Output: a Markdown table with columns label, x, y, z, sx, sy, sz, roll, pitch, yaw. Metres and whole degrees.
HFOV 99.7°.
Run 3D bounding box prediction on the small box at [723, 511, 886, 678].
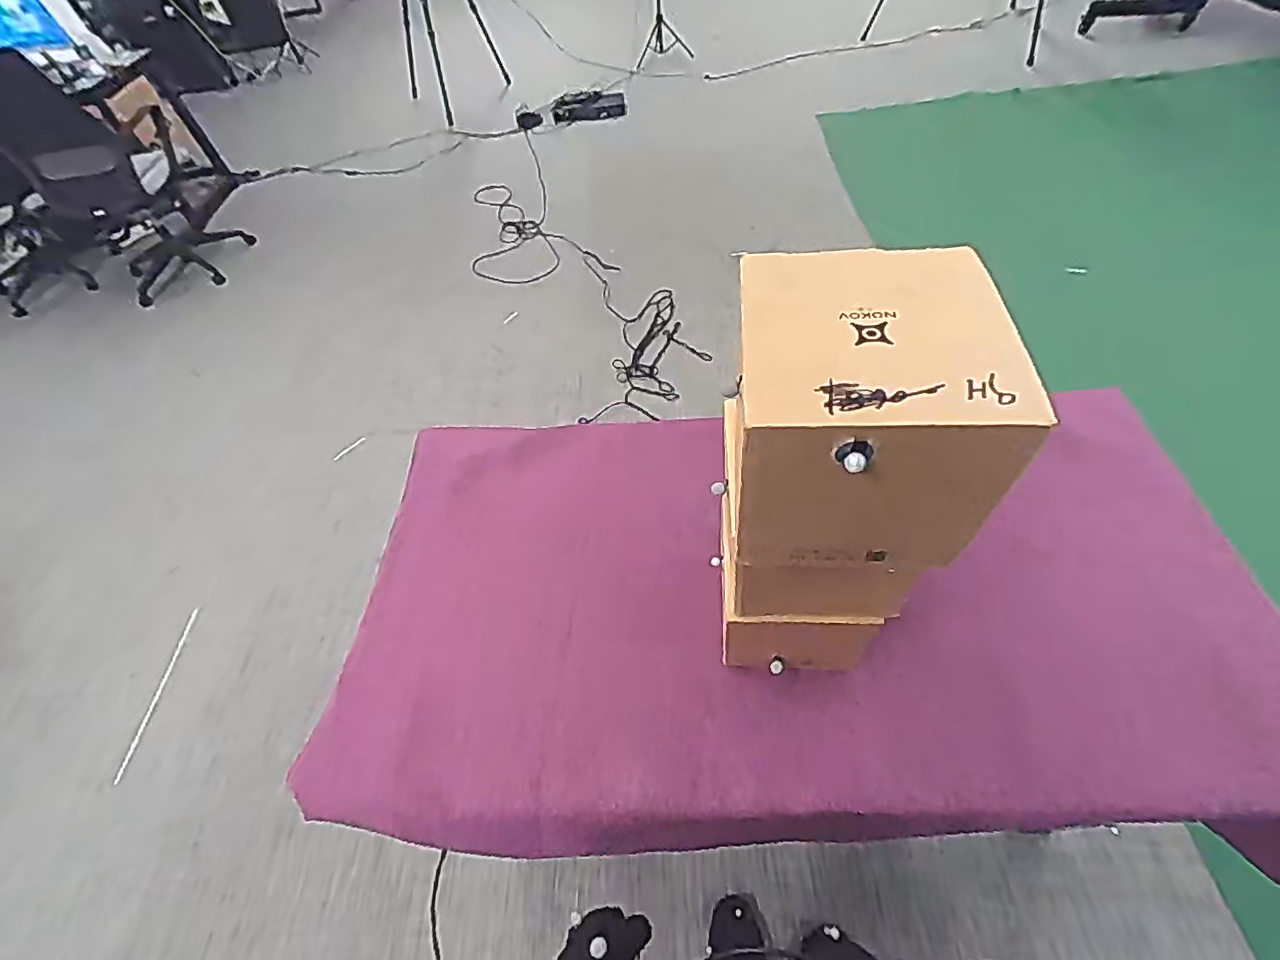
| label | x | y | z | sx | sy | sz | roll | pitch | yaw |
| --- | --- | --- | --- | --- | --- | --- | --- | --- | --- |
| small box | 0.189 | 0.133 | 0.680 | 0.168 | 0.176 | 0.179 | -1 | 54 | 8 |

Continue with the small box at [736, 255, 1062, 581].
| label | x | y | z | sx | sy | sz | roll | pitch | yaw |
| --- | --- | --- | --- | --- | --- | --- | --- | --- | --- |
| small box | 0.158 | -0.044 | 0.407 | 0.168 | 0.176 | 0.179 | 0 | 52 | 9 |

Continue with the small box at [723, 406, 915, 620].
| label | x | y | z | sx | sy | sz | roll | pitch | yaw |
| --- | --- | --- | --- | --- | --- | --- | --- | --- | --- |
| small box | 0.177 | 0.035 | 0.552 | 0.179 | 0.176 | 0.168 | -2 | 53 | 7 |
